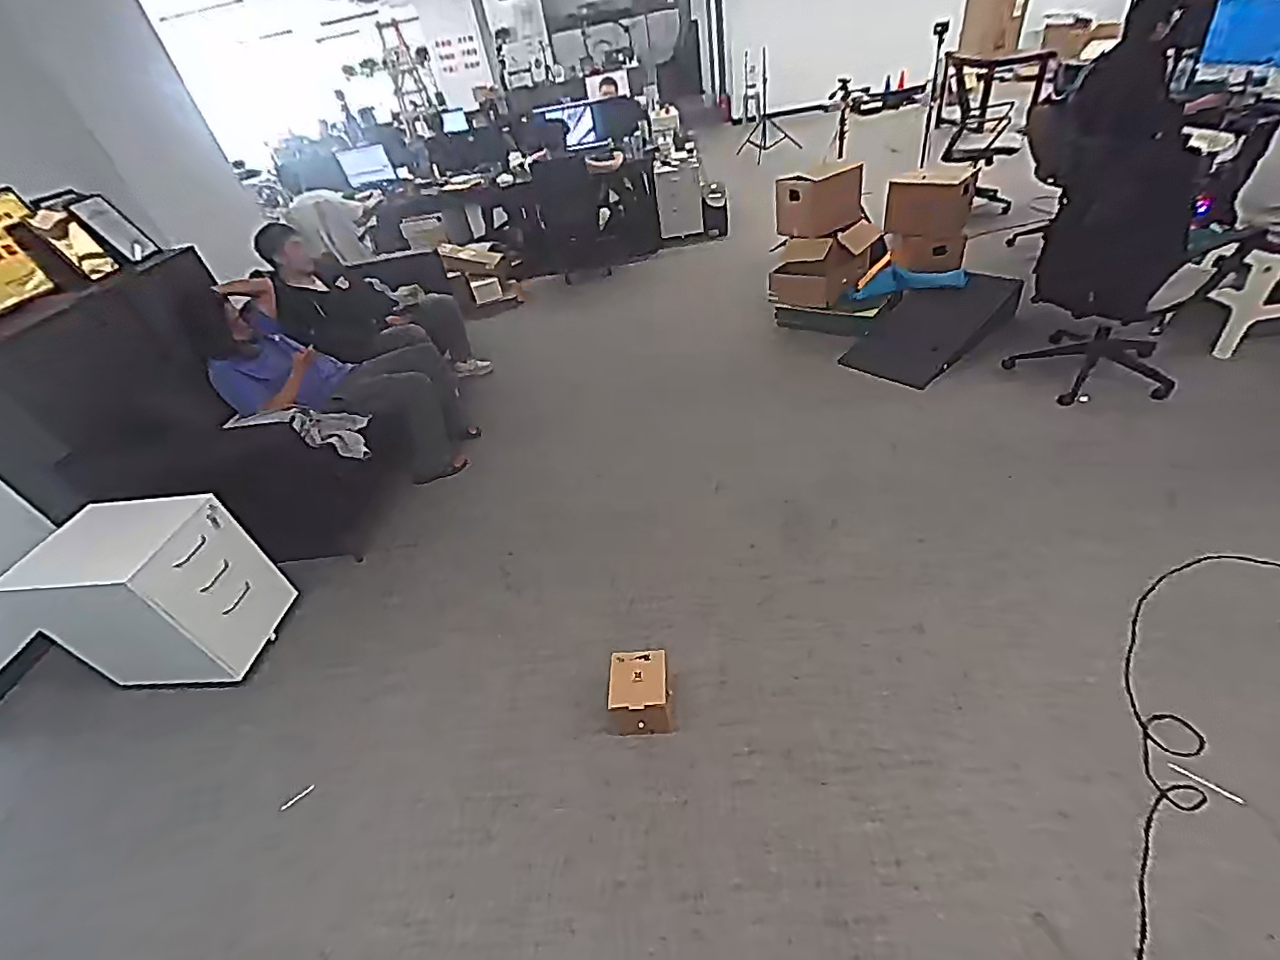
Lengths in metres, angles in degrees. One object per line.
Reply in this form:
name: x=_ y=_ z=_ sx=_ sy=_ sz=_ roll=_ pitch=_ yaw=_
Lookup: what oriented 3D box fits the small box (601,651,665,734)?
small box: x=-0.017 y=0.645 z=1.627 sx=0.168 sy=0.176 sz=0.179 roll=-8 pitch=39 yaw=5
